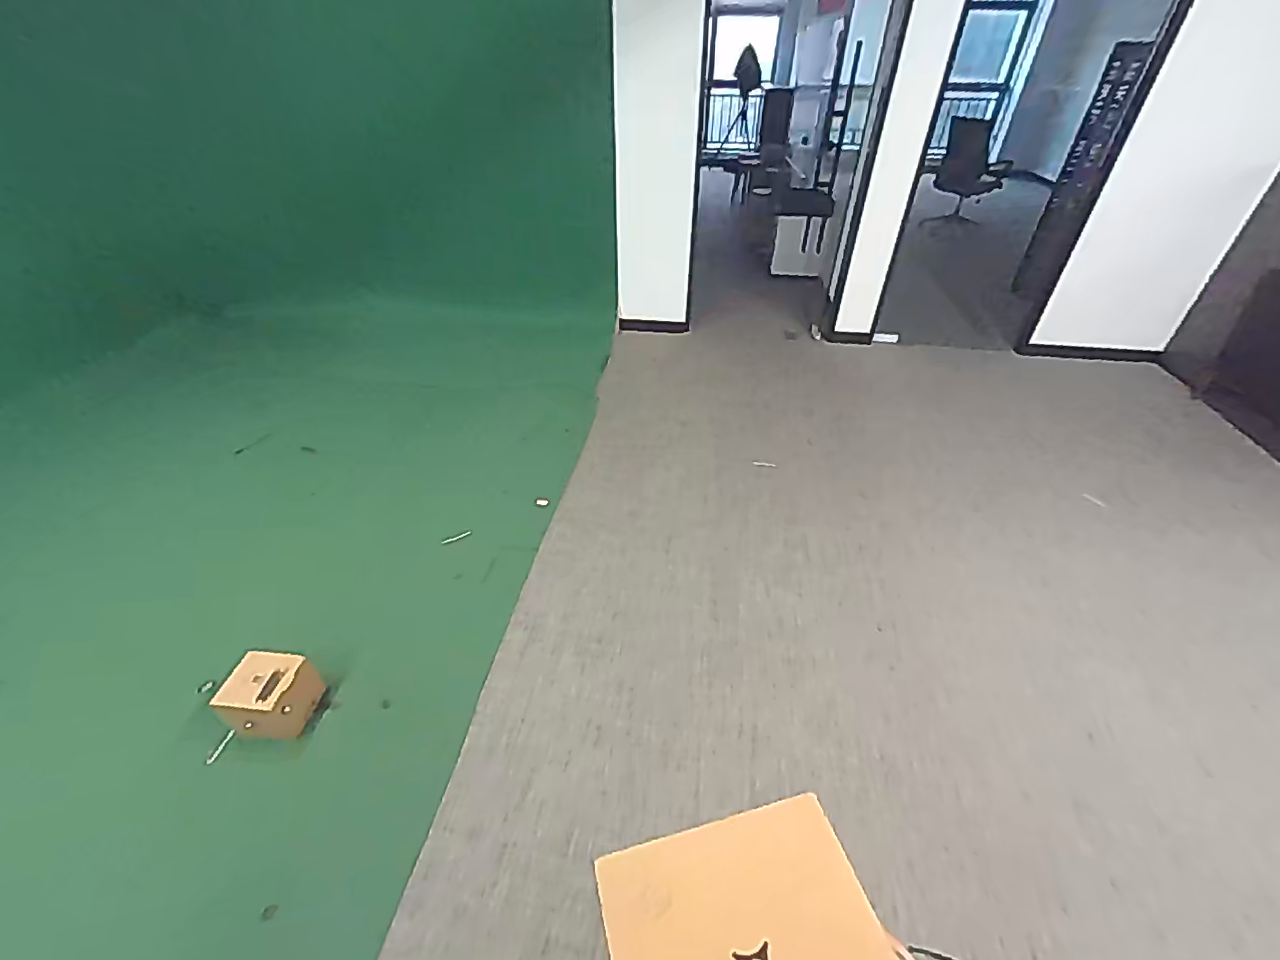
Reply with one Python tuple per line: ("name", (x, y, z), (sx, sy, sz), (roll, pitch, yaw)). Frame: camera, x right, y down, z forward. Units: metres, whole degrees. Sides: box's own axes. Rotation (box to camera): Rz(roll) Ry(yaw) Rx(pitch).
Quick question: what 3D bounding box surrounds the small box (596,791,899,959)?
("small box", (0.069, 0.350, 0.354), (0.168, 0.176, 0.179), (-10, 36, -12))
